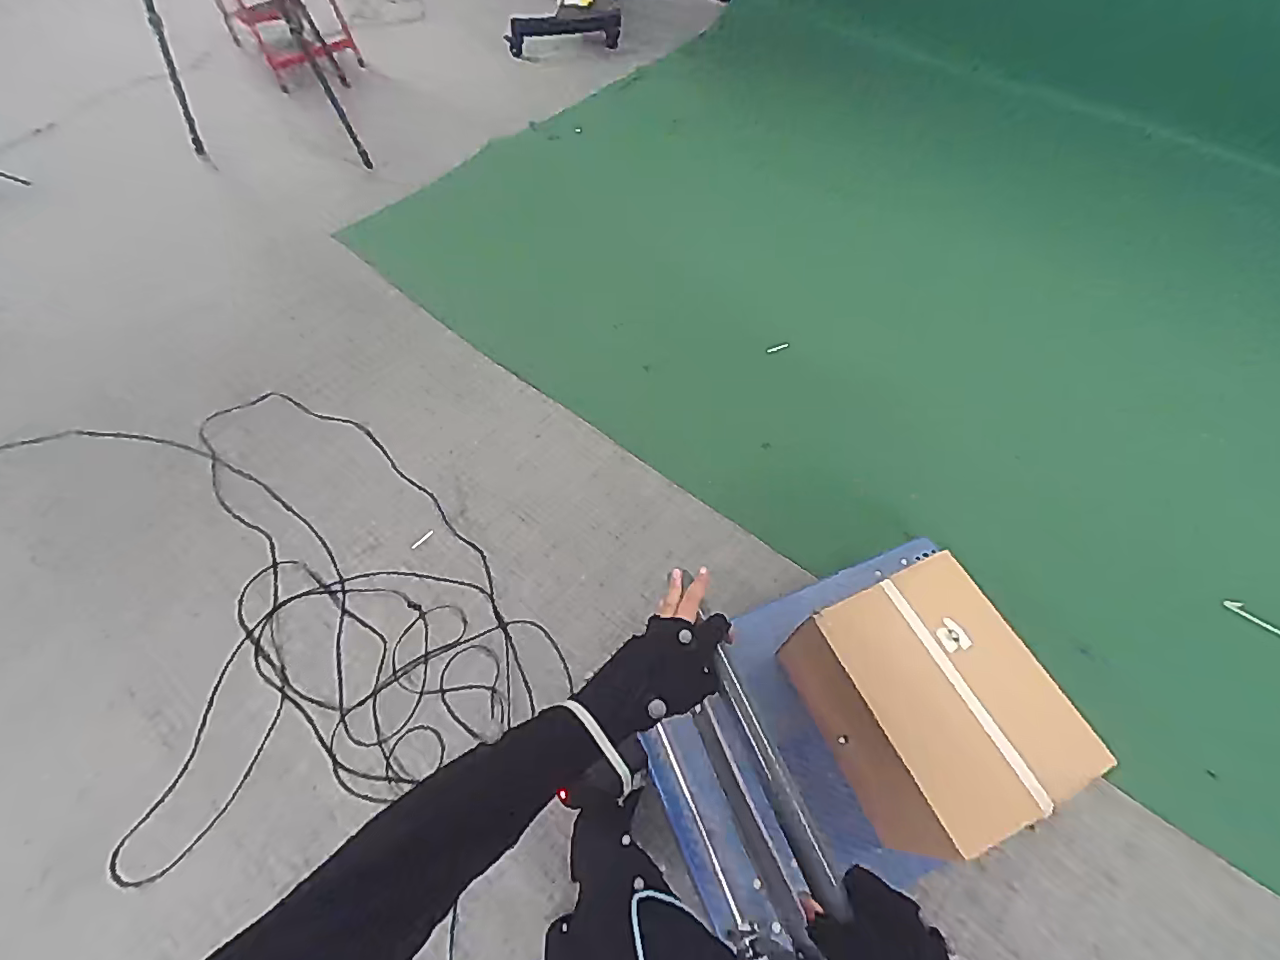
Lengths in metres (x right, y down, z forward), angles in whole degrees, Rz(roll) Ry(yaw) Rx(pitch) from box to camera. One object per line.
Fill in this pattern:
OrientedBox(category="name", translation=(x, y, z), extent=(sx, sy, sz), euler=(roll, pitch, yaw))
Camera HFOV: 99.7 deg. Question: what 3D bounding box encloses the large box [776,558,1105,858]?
OrientedBox(category="large box", translation=(0.526, 0.433, 1.049), extent=(0.320, 0.320, 0.408), euler=(-21, 60, -13))
